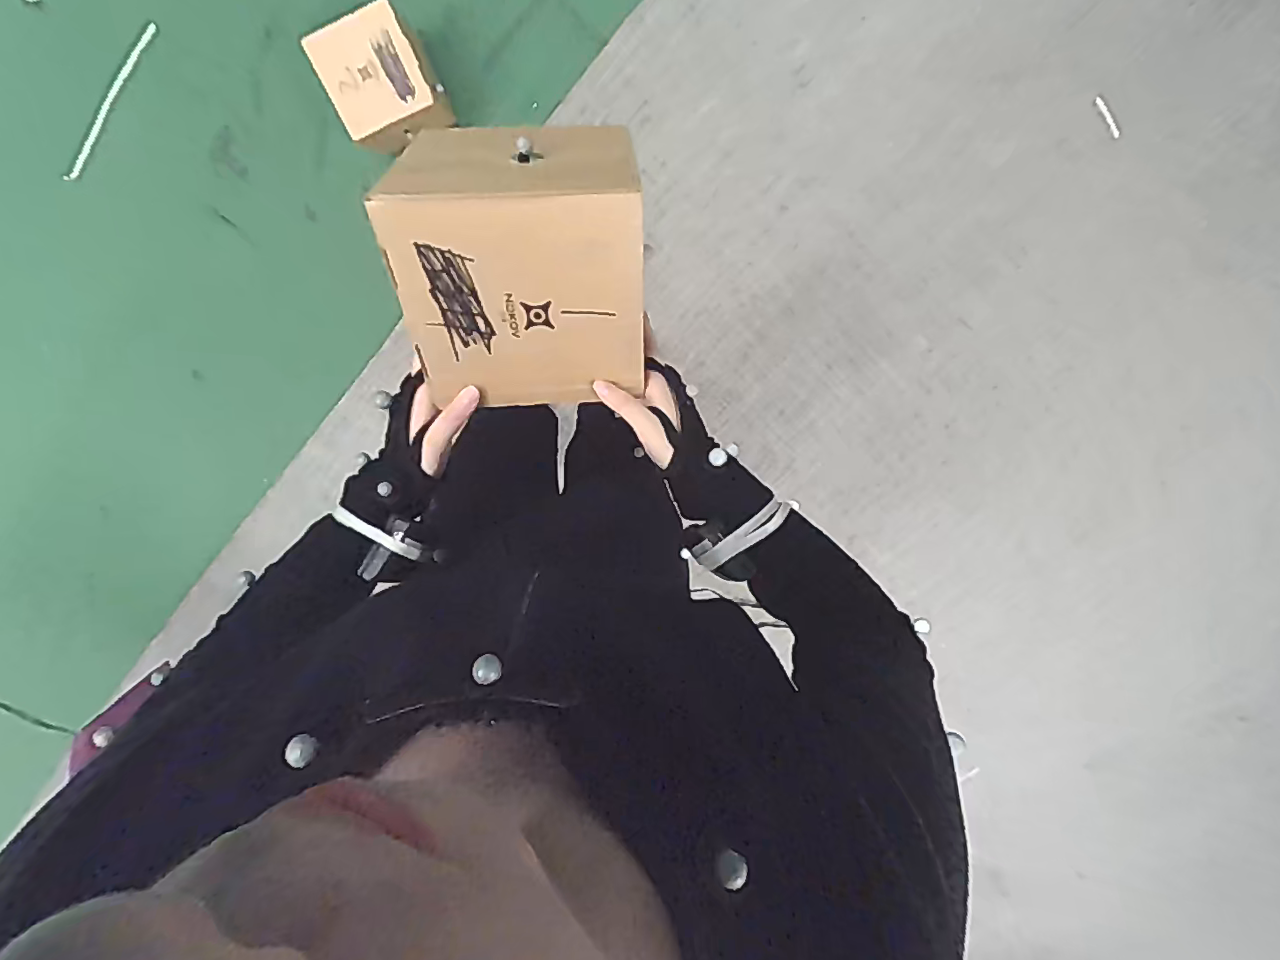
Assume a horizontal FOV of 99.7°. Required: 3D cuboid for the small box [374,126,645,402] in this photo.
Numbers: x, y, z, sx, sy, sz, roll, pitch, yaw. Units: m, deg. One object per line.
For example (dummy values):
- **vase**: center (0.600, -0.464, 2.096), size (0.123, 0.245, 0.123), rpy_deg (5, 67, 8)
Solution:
- **small box**: center (-0.089, -0.183, 0.456), size (0.179, 0.176, 0.168), rpy_deg (-3, 135, -3)
